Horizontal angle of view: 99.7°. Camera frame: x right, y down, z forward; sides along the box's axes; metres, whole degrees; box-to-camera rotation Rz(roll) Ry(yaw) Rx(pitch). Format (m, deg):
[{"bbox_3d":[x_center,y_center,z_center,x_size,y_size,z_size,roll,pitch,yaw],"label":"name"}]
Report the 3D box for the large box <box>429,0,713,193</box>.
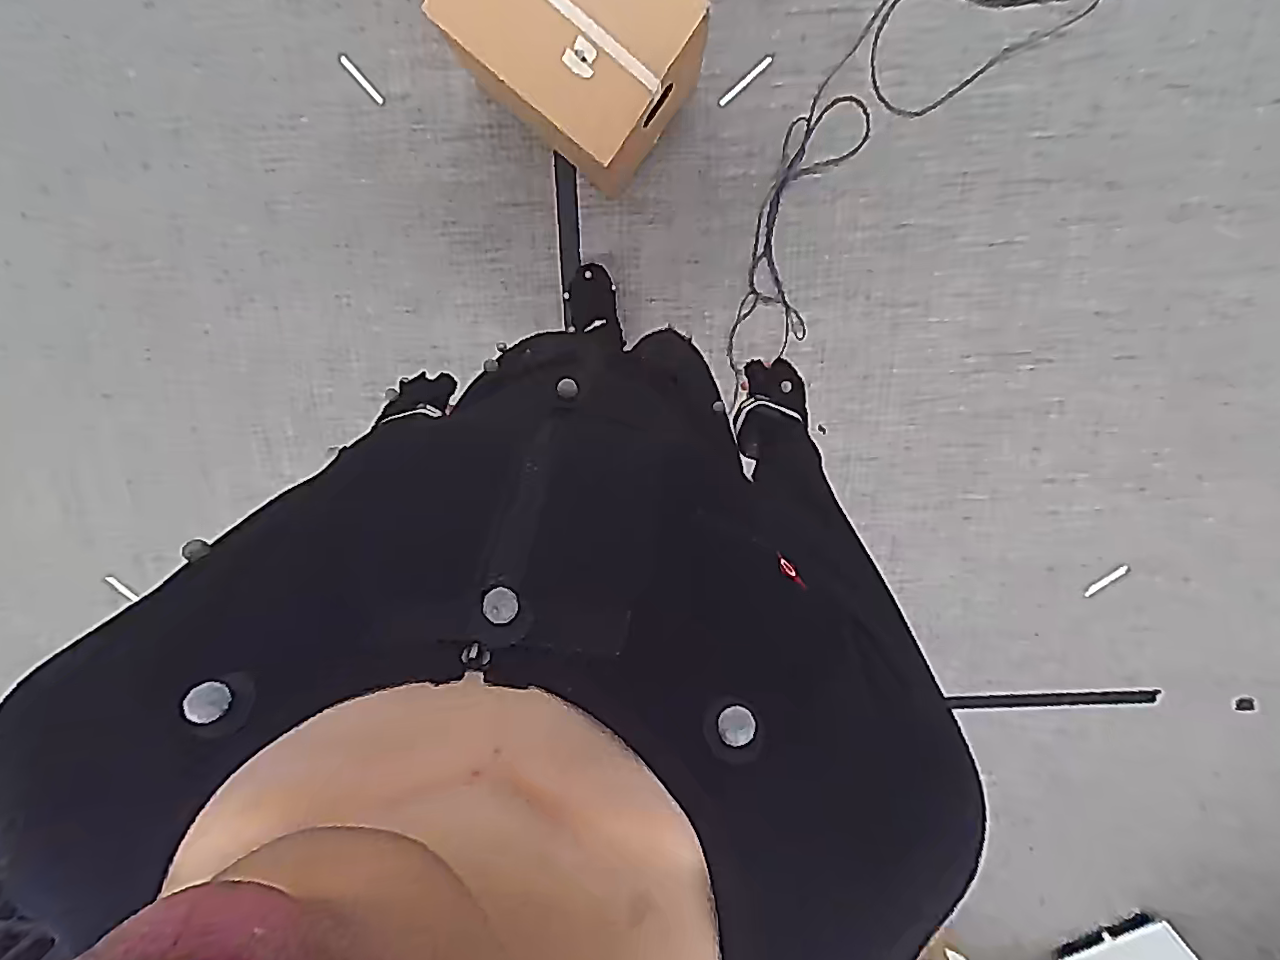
[{"bbox_3d":[-0.122,-0.862,1.077,0.408,0.320,0.320,36,105,-11],"label":"large box"}]
